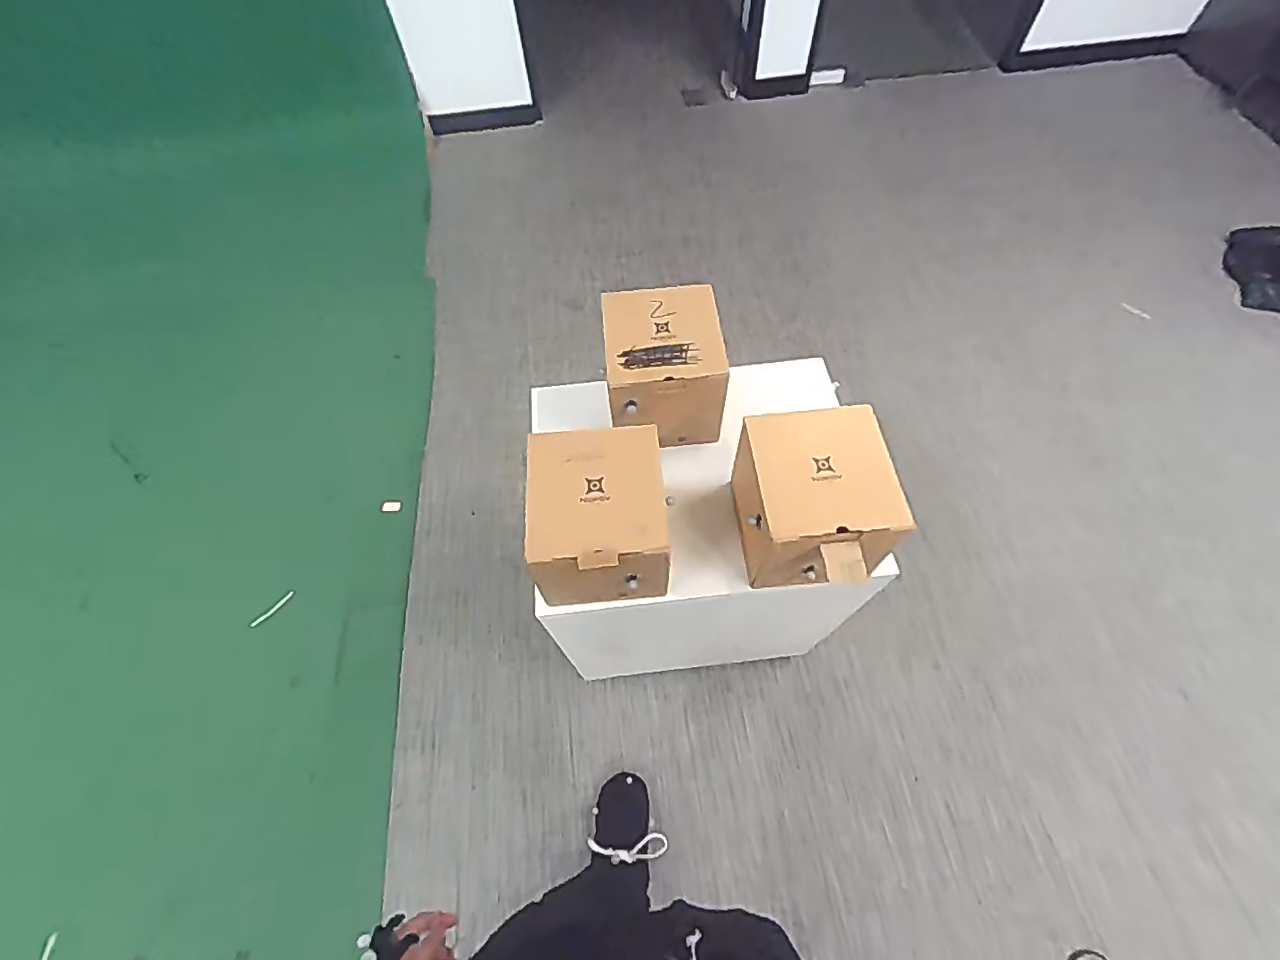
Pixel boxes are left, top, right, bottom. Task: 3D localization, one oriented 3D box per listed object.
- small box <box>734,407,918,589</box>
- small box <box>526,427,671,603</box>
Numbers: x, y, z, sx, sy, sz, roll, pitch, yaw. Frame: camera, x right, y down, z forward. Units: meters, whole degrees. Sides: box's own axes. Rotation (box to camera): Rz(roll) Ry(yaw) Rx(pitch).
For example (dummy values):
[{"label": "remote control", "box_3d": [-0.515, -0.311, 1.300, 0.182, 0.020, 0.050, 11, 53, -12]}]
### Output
[{"label": "small box", "box_3d": [0.225, 0.028, 0.712, 0.168, 0.176, 0.179, -6, 60, -1]}, {"label": "small box", "box_3d": [-0.050, 0.054, 0.708, 0.168, 0.176, 0.179, -4, 59, -3]}]
